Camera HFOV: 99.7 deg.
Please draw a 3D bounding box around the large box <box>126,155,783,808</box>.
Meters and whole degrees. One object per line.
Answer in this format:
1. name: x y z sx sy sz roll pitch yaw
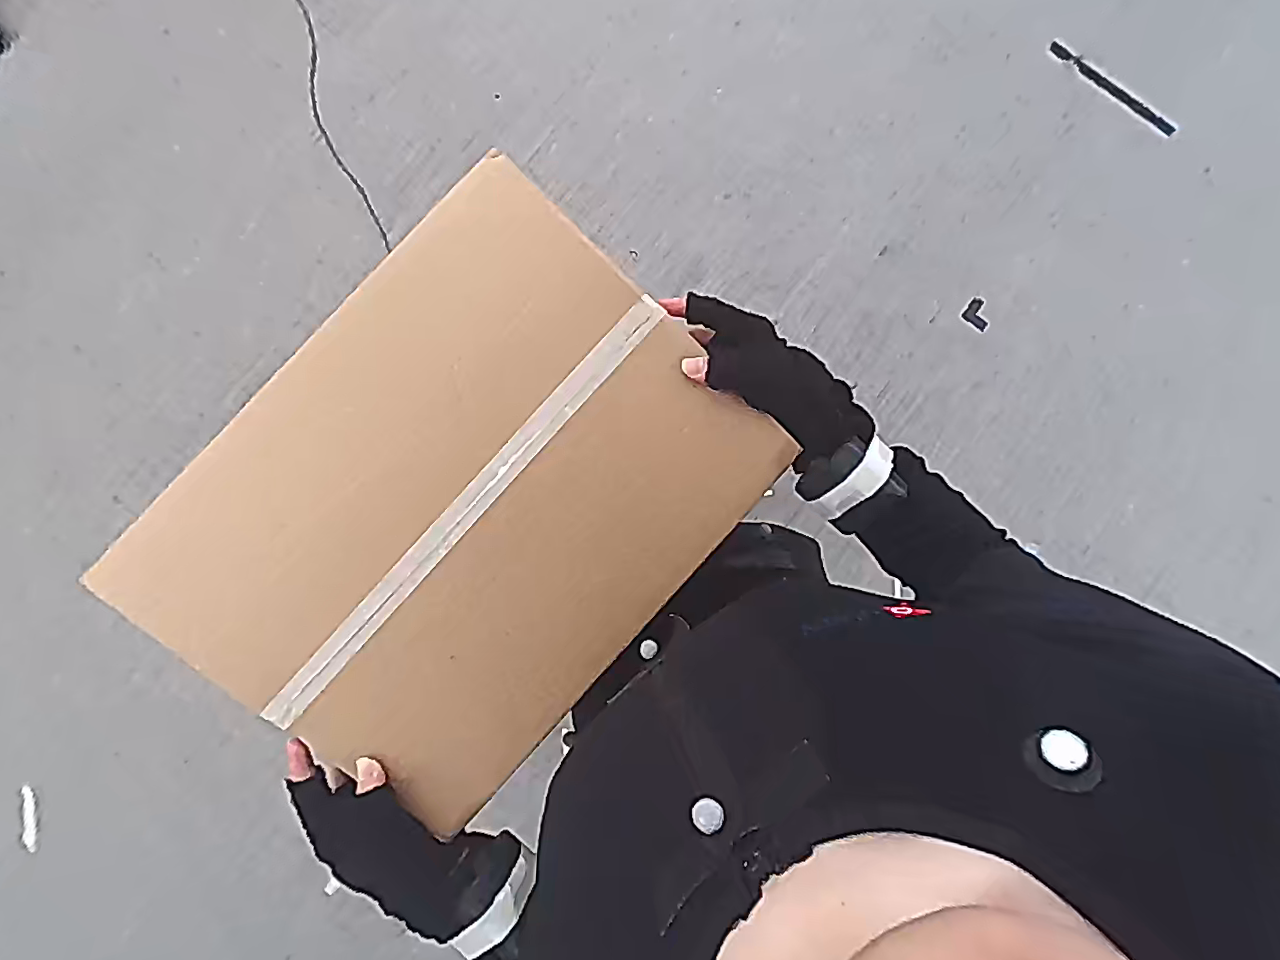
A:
1. large box: -0.143 0.001 0.552 0.320 0.320 0.408 43 89 -9
